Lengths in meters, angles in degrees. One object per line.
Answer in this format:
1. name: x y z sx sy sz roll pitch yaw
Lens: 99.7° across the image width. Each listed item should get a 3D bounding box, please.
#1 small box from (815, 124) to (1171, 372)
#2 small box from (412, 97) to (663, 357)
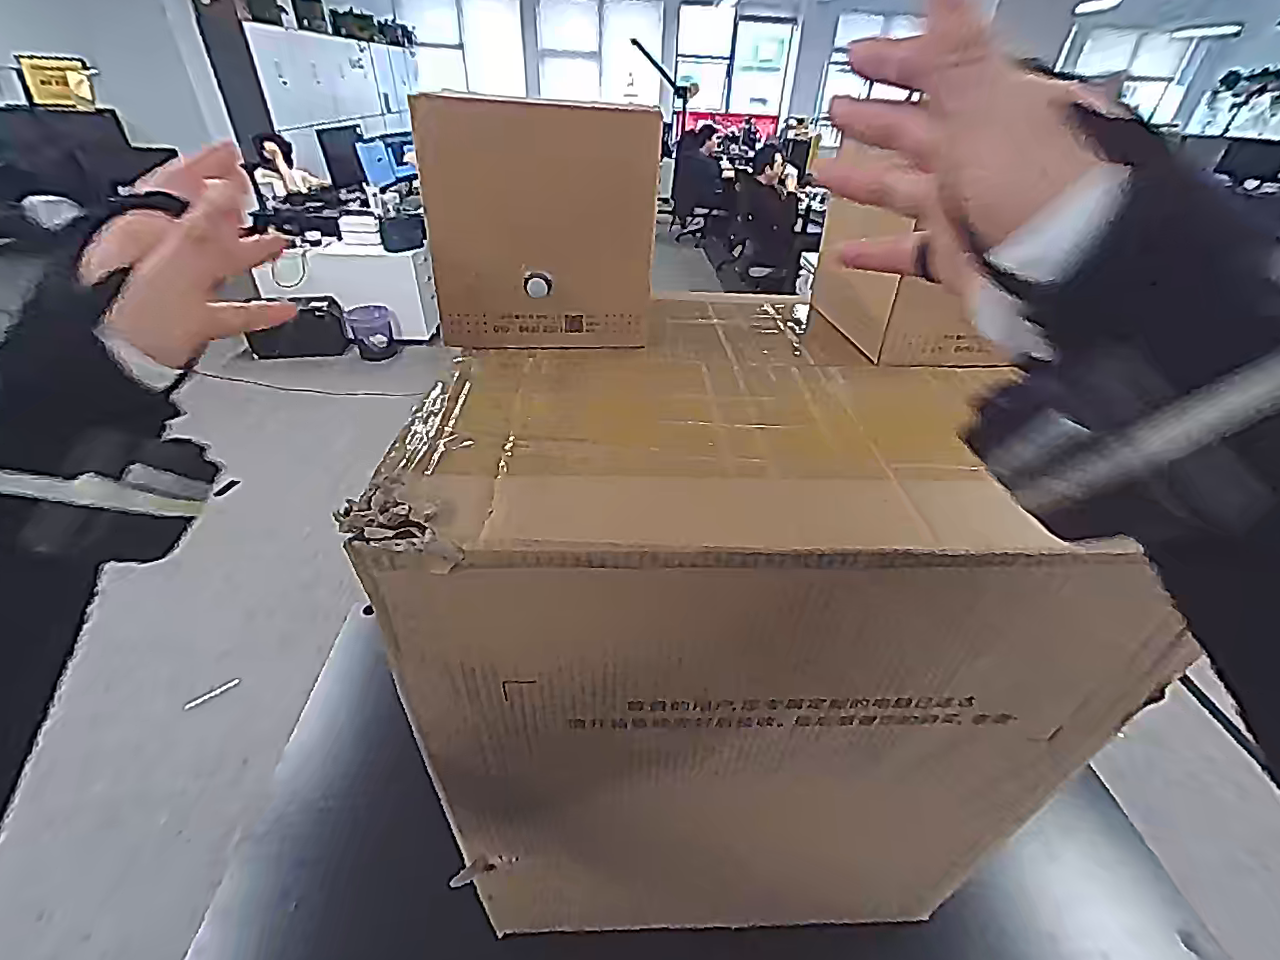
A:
1. small box: 0.268 -0.204 0.470 0.168 0.176 0.179 -1 34 -3
2. small box: -0.081 -0.217 0.464 0.168 0.176 0.179 -2 35 -9
